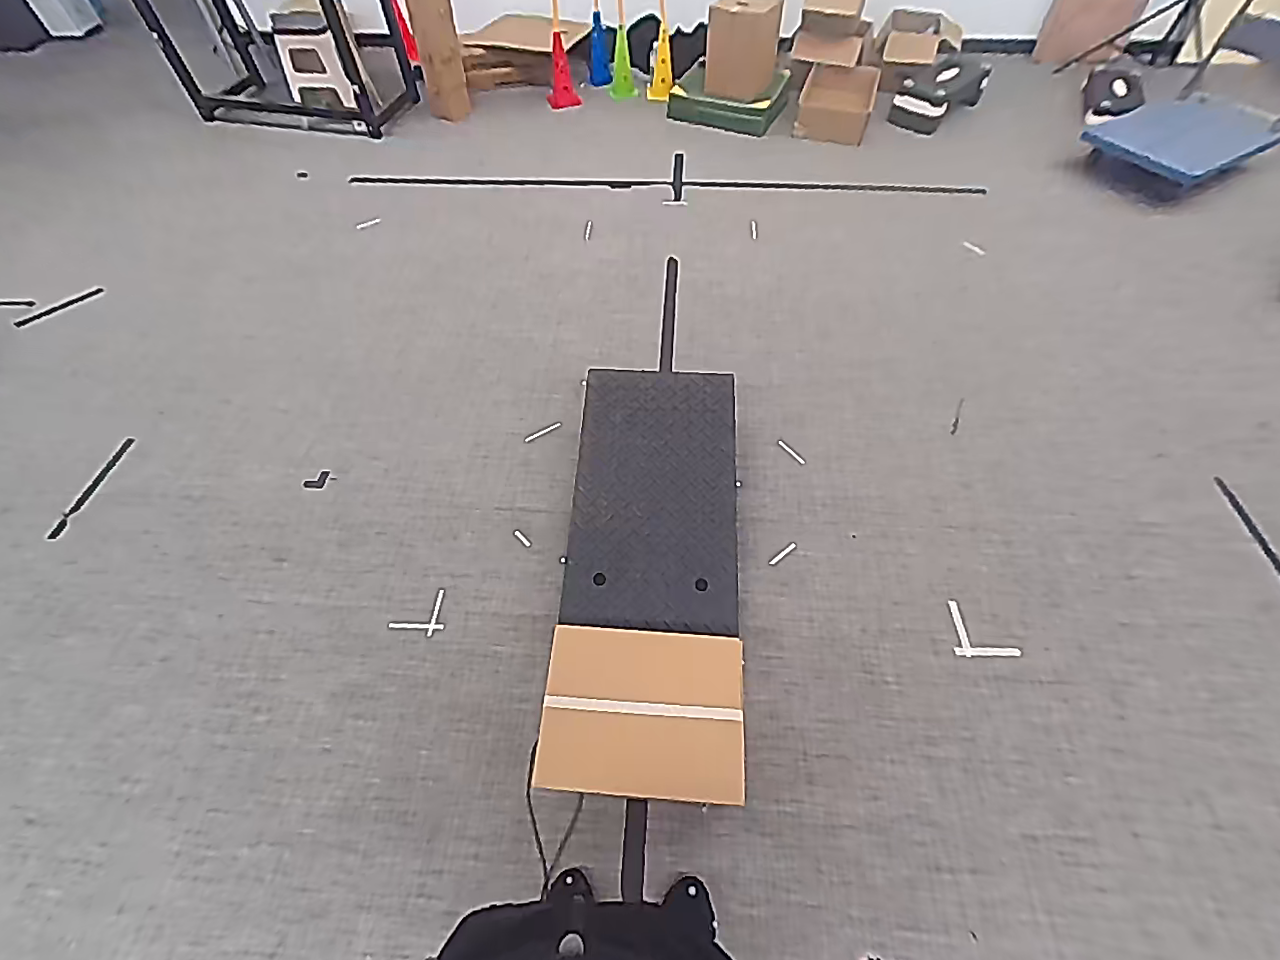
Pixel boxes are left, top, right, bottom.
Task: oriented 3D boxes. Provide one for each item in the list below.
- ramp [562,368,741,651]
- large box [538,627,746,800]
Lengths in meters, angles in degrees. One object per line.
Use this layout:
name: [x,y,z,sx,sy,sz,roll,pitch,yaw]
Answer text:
ramp: [0.050,0.090,1.615,0.509,0.206,0.991,2,56,0]
large box: [0.015,0.535,1.230,0.408,0.320,0.320,3,59,3]
